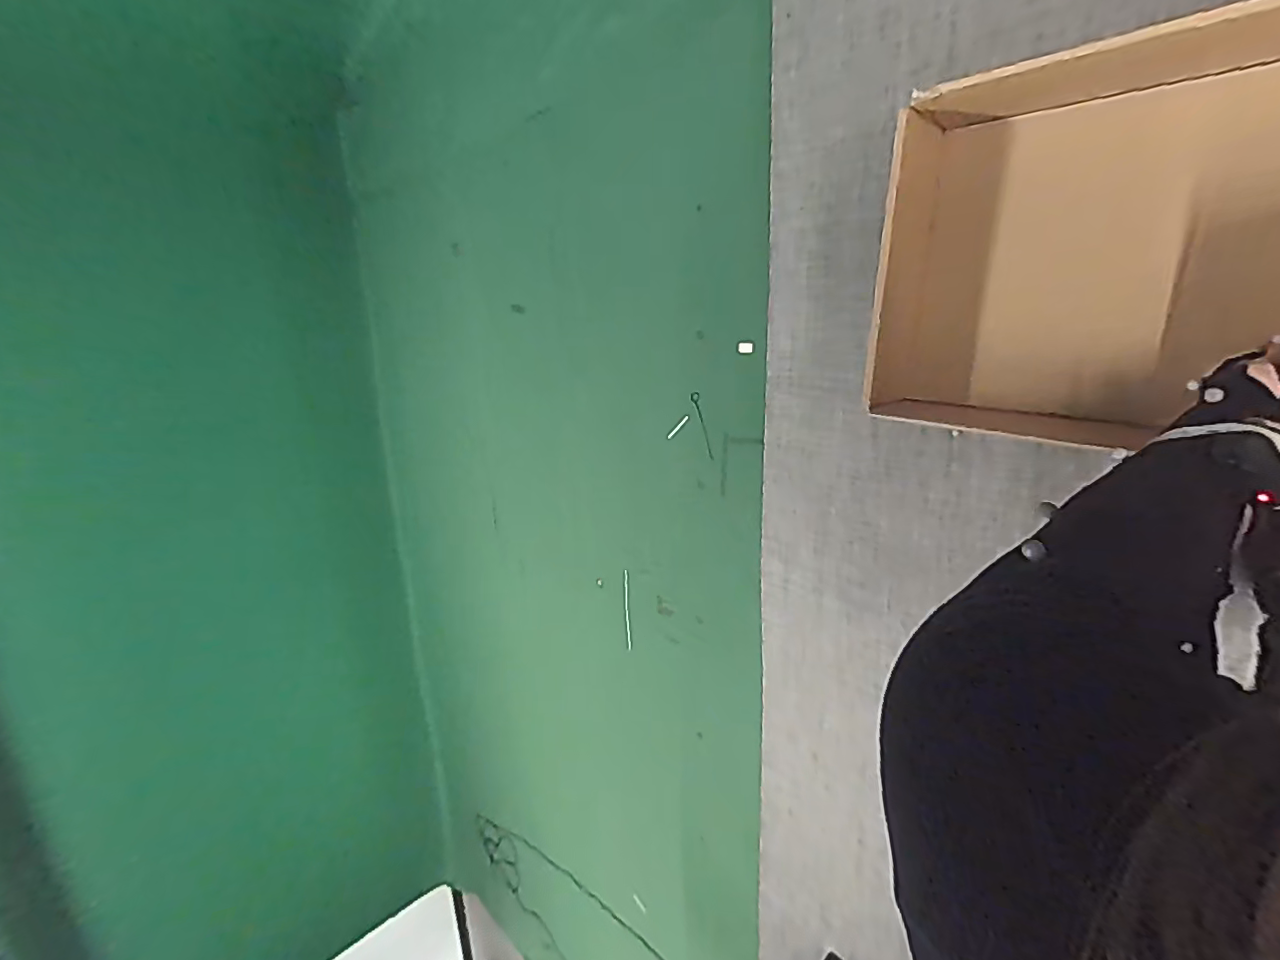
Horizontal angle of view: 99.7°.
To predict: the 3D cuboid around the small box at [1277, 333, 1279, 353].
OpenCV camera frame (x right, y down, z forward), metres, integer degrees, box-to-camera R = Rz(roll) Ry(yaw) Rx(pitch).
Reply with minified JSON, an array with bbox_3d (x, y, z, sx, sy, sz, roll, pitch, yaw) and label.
[{"bbox_3d":[0.673,-0.174,0.444,0.168,0.176,0.179,16,114,43],"label":"small box"}]
